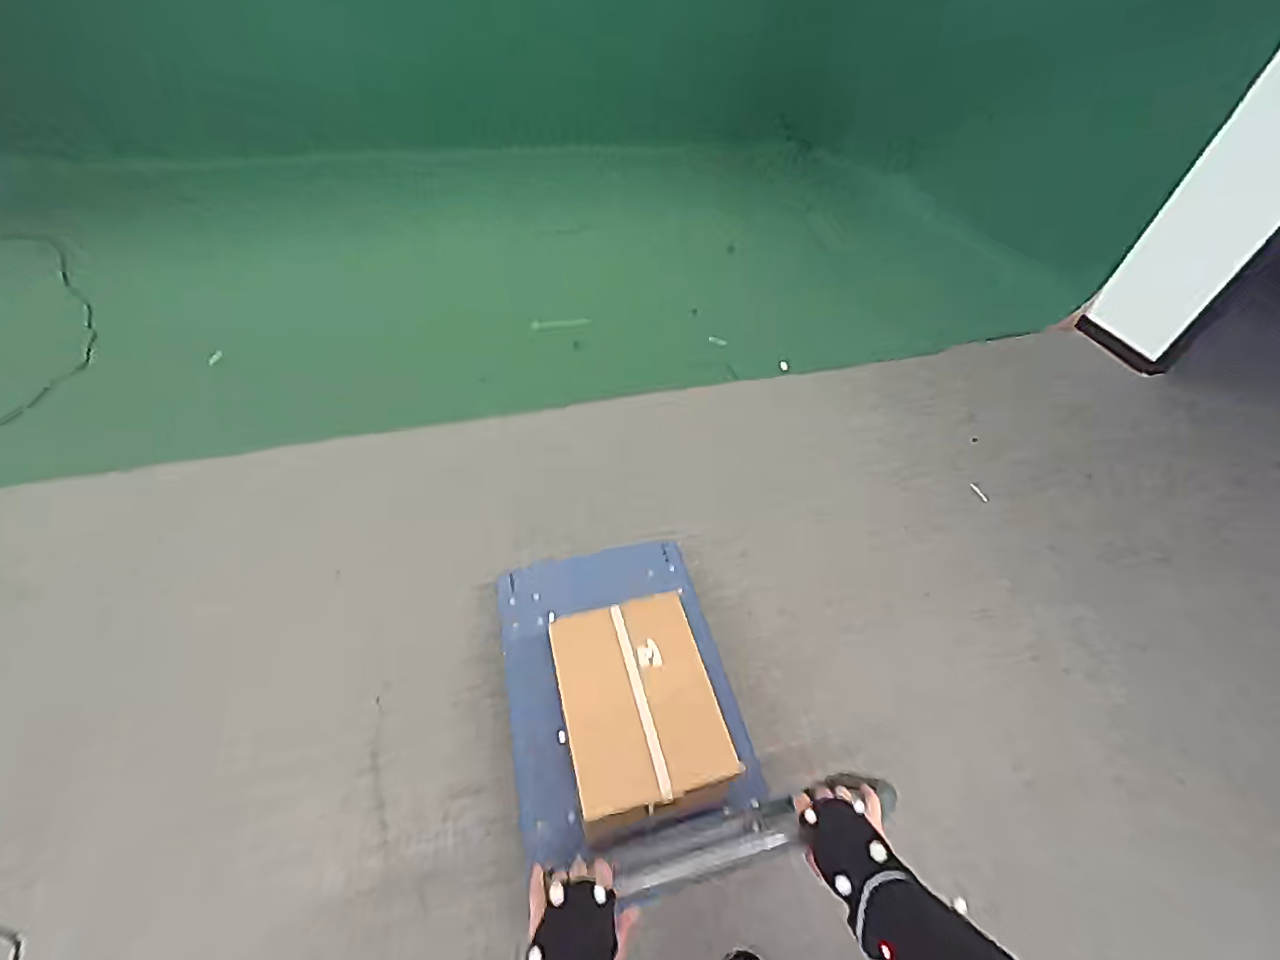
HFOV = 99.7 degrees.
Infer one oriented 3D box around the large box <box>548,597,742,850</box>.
[{"bbox_3d":[-0.008,0.548,1.239,0.320,0.320,0.408,-11,49,-13],"label":"large box"}]
